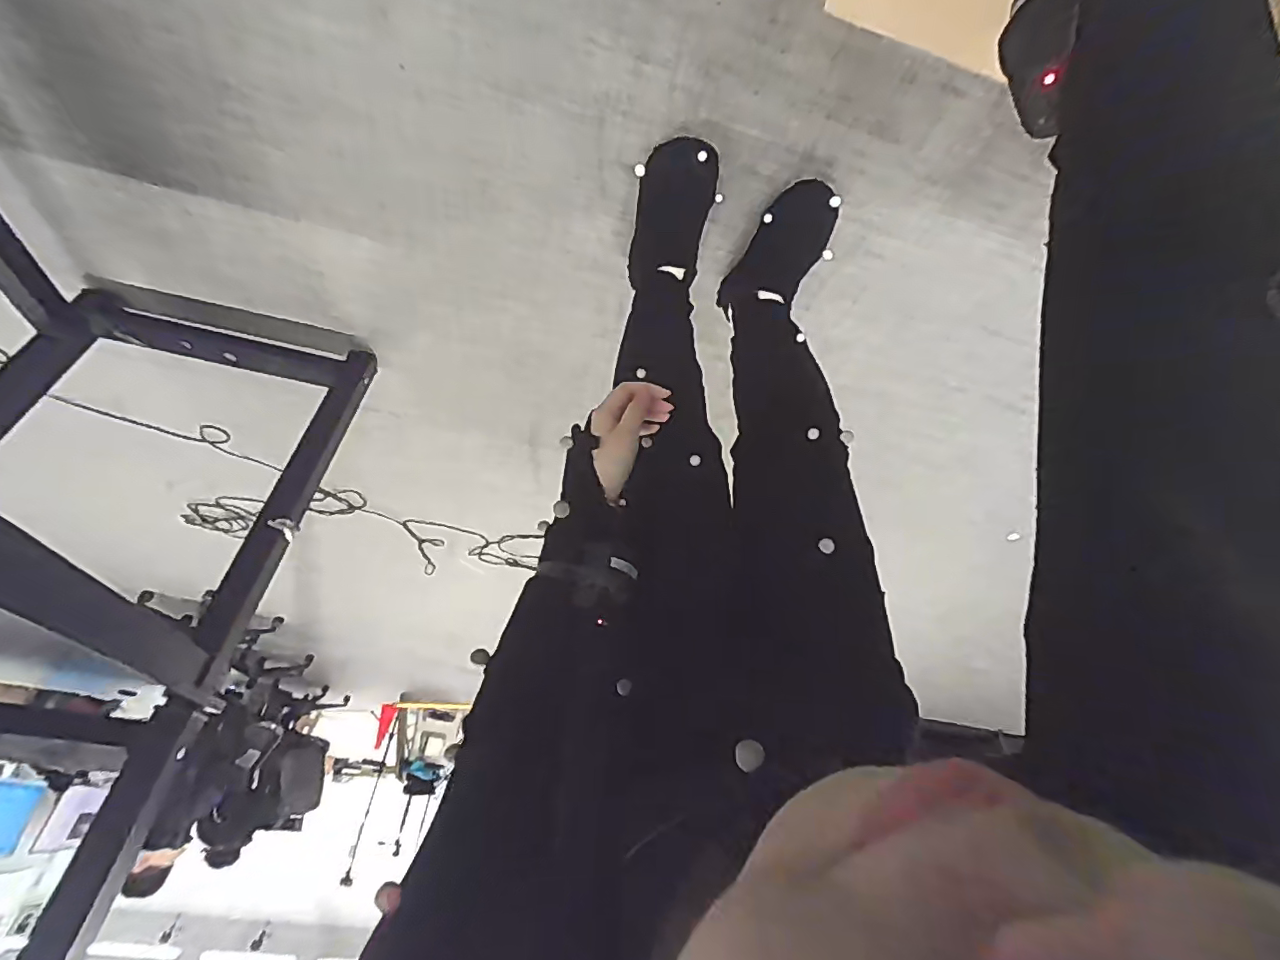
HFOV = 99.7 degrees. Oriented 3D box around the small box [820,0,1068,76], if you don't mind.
[{"bbox_3d":[0.238,-0.438,0.373,0.168,0.176,0.179,13,149,-8],"label":"small box"}]
